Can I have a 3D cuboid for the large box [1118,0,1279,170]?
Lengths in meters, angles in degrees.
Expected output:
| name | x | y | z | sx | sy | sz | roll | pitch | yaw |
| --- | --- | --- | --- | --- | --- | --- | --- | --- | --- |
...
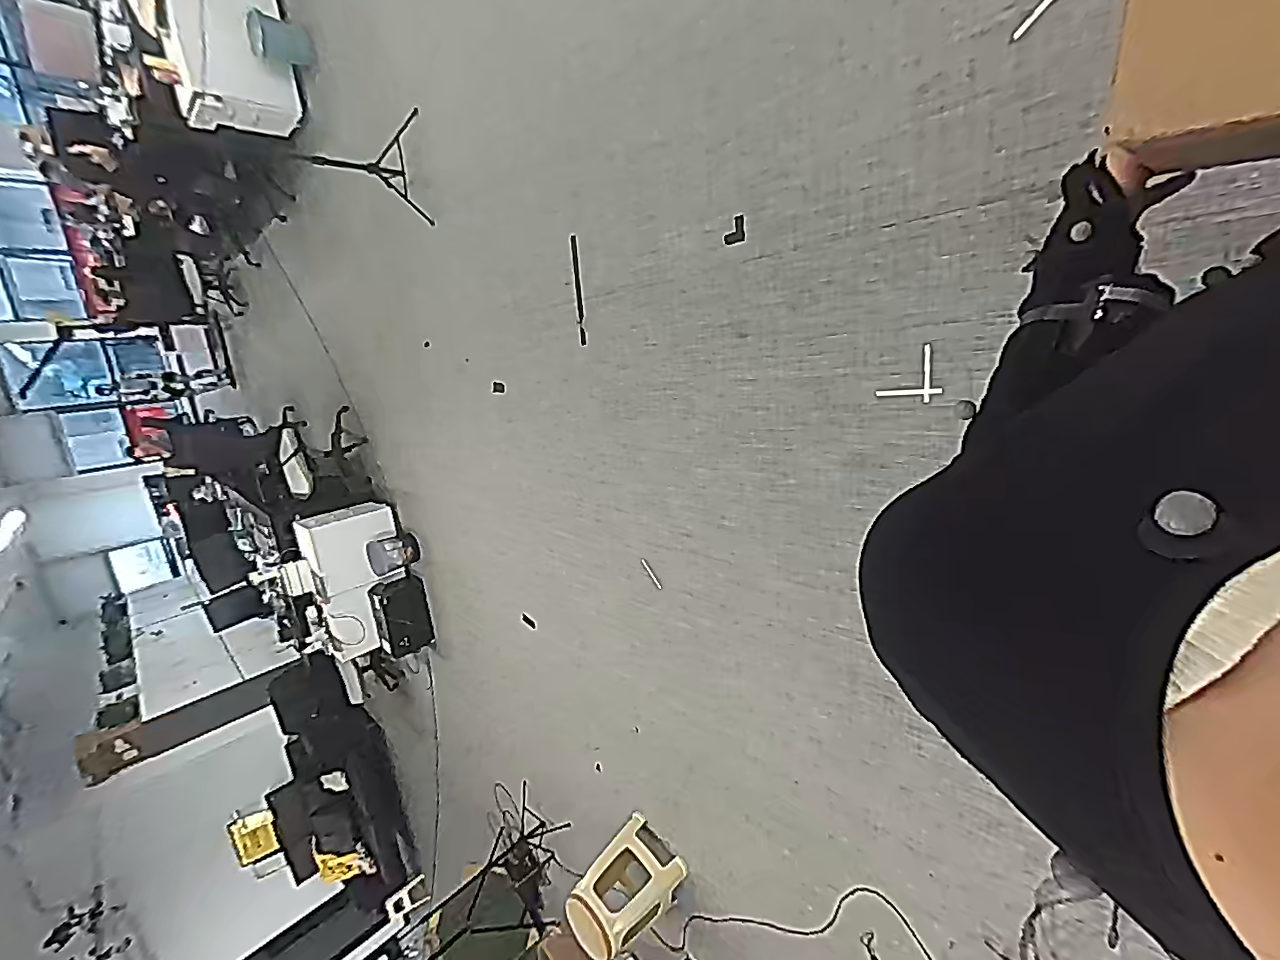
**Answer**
| name | x | y | z | sx | sy | sz | roll | pitch | yaw |
| --- | --- | --- | --- | --- | --- | --- | --- | --- | --- |
| large box | 0.441 | -0.316 | 0.162 | 0.408 | 0.320 | 0.320 | 13 | 118 | 41 |
